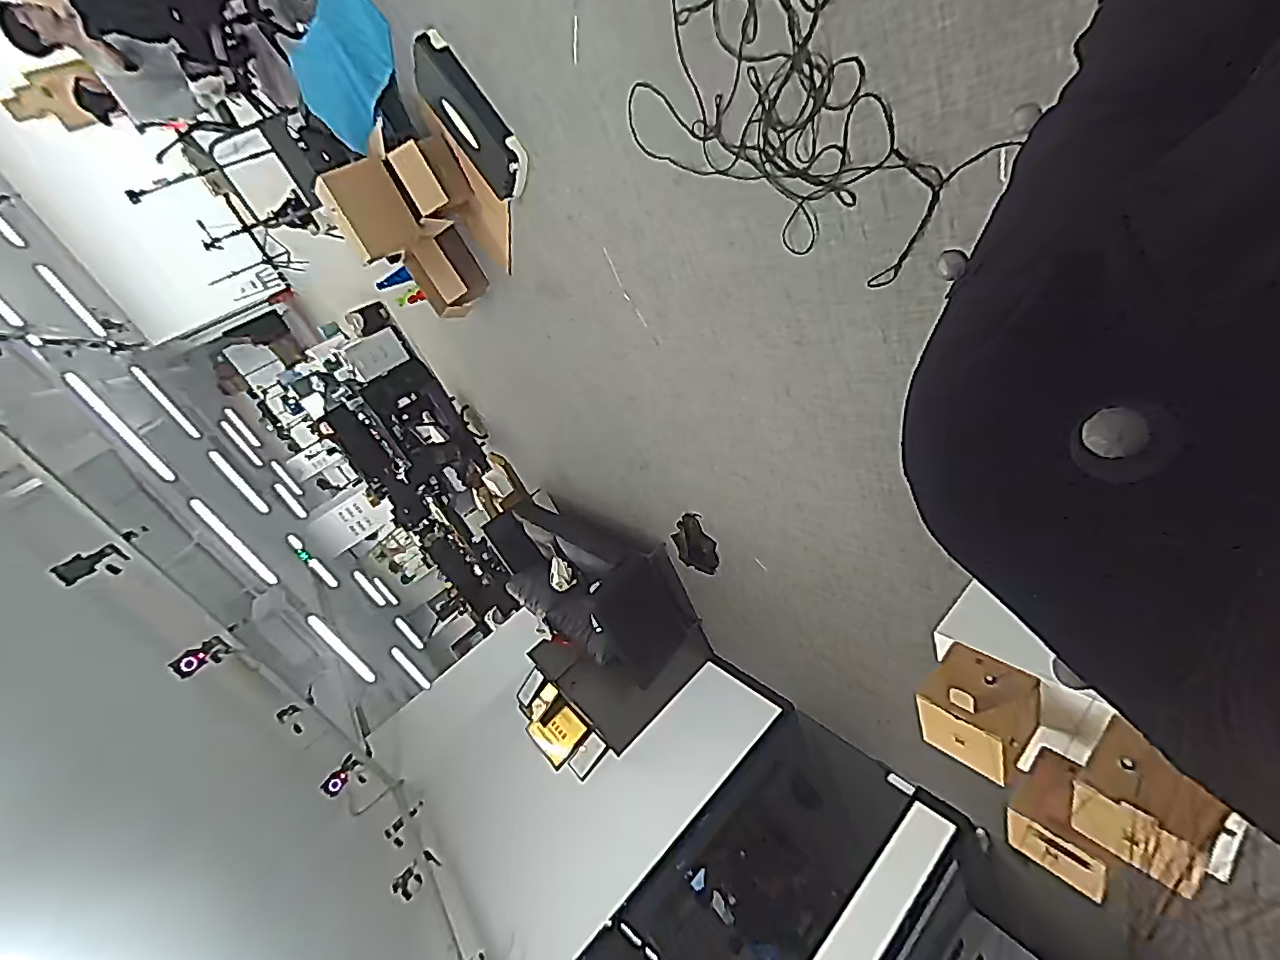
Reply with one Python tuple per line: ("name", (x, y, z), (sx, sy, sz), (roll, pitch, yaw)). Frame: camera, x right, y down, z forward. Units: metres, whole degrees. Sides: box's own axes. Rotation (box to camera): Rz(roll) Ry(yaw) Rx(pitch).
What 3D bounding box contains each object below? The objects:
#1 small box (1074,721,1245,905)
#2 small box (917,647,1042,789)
("small box", (0.876, 0.553, 0.919), (0.168, 0.176, 0.179), (23, 146, 52))
("small box", (0.714, 0.490, 1.134), (0.168, 0.176, 0.179), (21, 142, 51))
